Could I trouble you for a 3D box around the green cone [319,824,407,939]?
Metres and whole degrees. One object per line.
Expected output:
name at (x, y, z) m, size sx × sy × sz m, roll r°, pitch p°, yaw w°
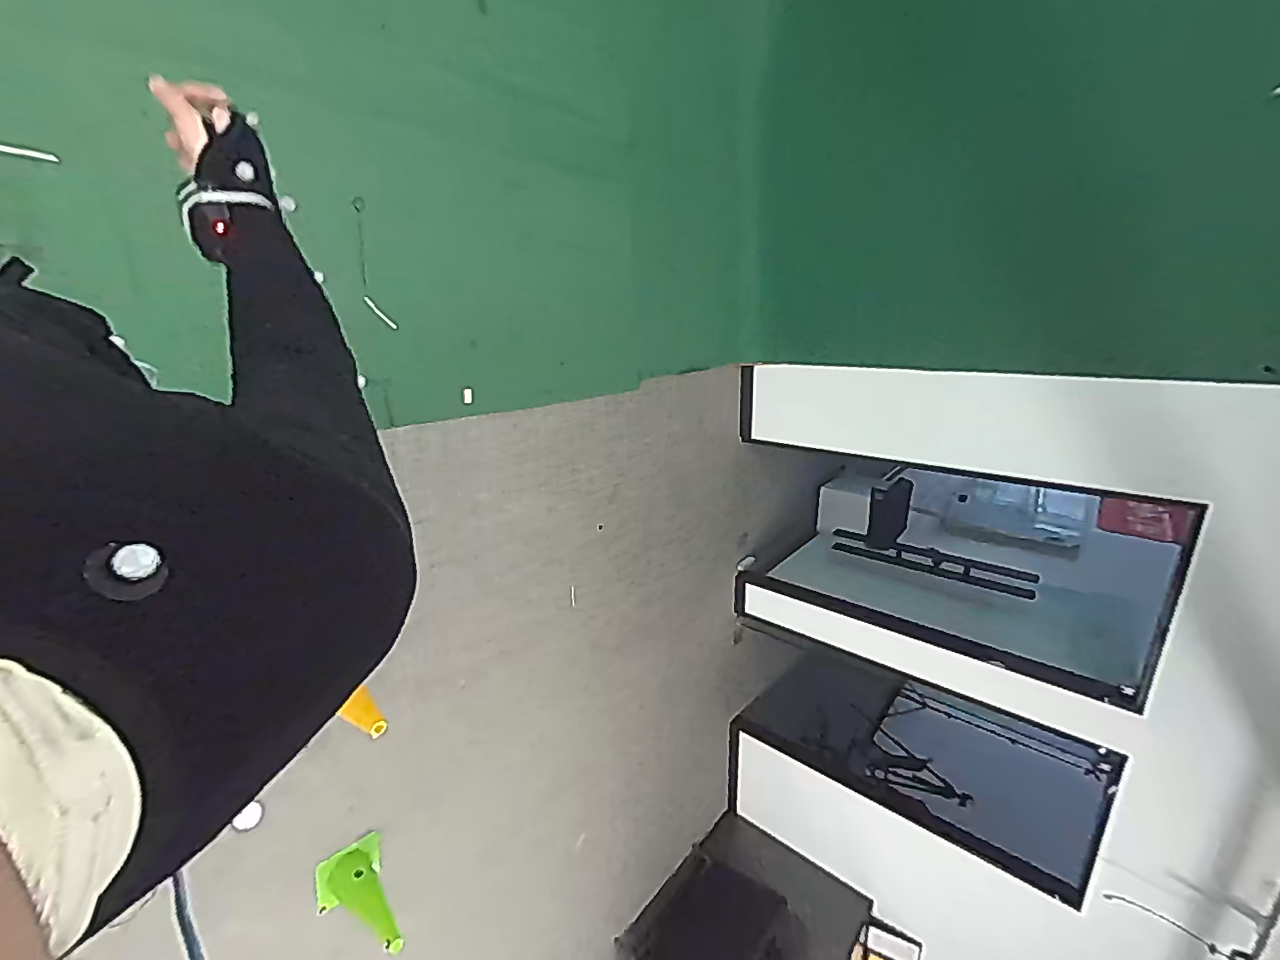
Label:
green cone at (-0.857, 1.342, 1.748) m, size 0.200 × 0.368 × 0.202 m, roll -12°, pitch 108°, yaw -49°
